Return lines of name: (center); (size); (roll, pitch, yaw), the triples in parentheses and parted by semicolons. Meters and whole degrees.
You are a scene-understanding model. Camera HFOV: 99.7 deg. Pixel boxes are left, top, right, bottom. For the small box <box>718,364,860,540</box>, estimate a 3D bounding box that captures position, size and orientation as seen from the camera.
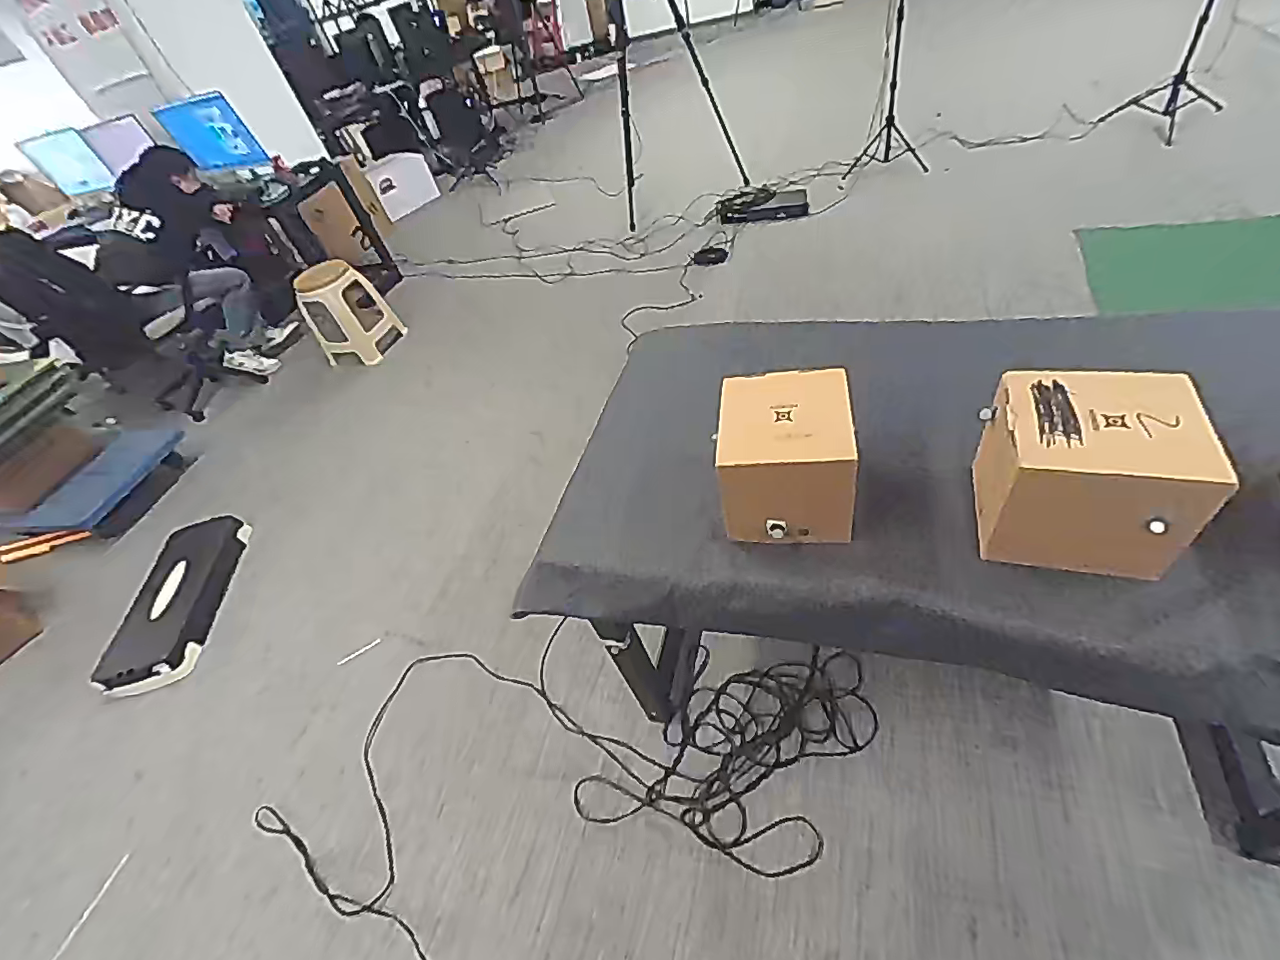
small box: (0.204, -0.036, 0.748); (0.168, 0.176, 0.179); (-2, 48, 16)
